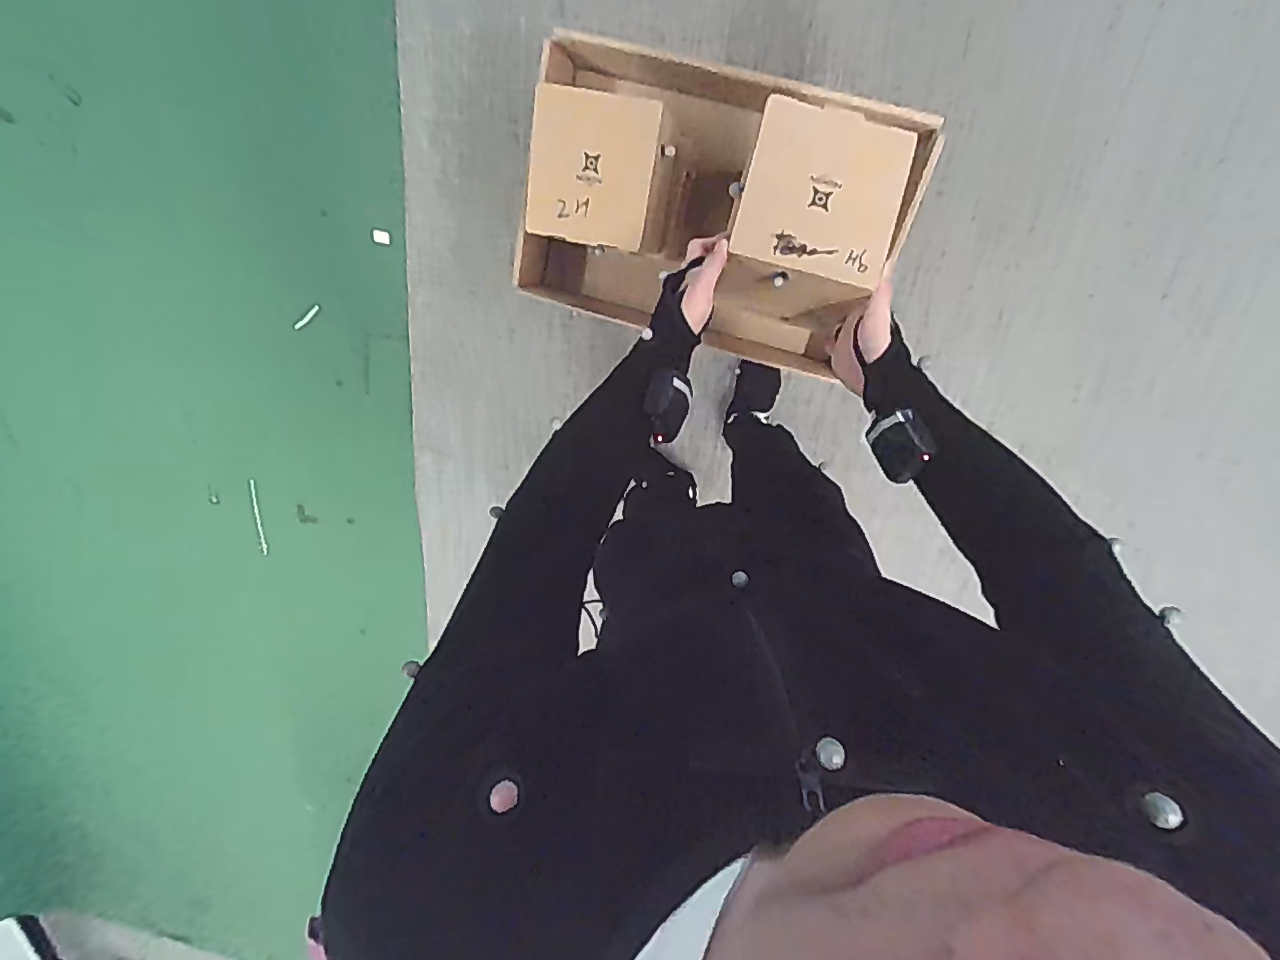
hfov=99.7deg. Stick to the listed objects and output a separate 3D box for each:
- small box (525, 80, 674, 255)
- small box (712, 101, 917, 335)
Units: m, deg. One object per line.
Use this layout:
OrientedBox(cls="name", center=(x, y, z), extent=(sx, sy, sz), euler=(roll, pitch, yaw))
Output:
OrientedBox(cls="small box", center=(-0.050, -0.430, 0.770), extent=(0.168, 0.176, 0.179), euler=(14, 115, 5))
OrientedBox(cls="small box", center=(0.193, -0.297, 0.651), extent=(0.168, 0.176, 0.179), euler=(15, 91, -1))
